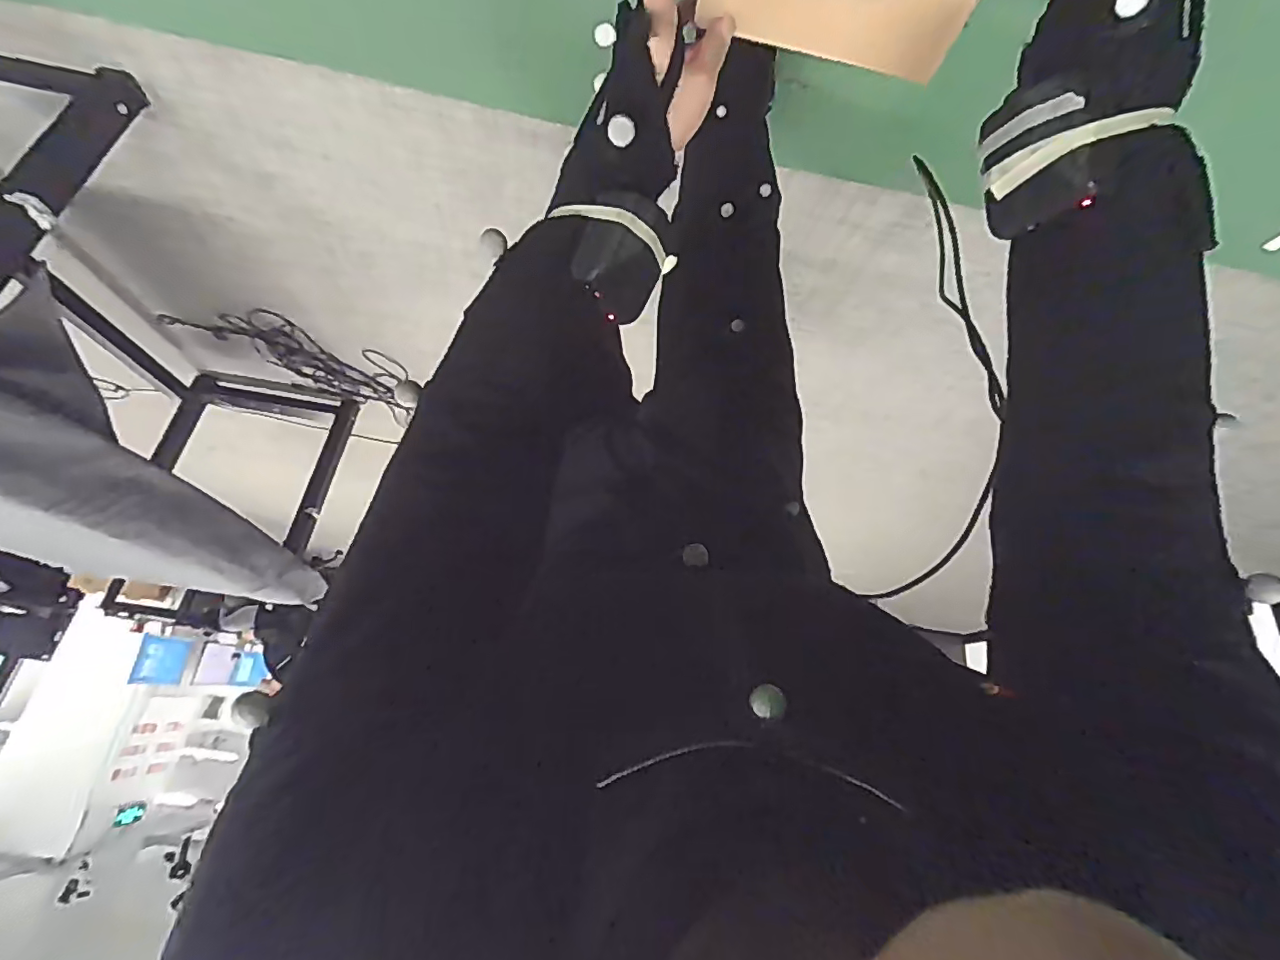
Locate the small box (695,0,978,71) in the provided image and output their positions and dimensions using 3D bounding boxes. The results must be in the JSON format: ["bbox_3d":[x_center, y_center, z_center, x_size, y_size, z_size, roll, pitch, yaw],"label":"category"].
[{"bbox_3d":[0.135,-0.386,0.300,0.168,0.176,0.179,11,158,-3],"label":"small box"}]
